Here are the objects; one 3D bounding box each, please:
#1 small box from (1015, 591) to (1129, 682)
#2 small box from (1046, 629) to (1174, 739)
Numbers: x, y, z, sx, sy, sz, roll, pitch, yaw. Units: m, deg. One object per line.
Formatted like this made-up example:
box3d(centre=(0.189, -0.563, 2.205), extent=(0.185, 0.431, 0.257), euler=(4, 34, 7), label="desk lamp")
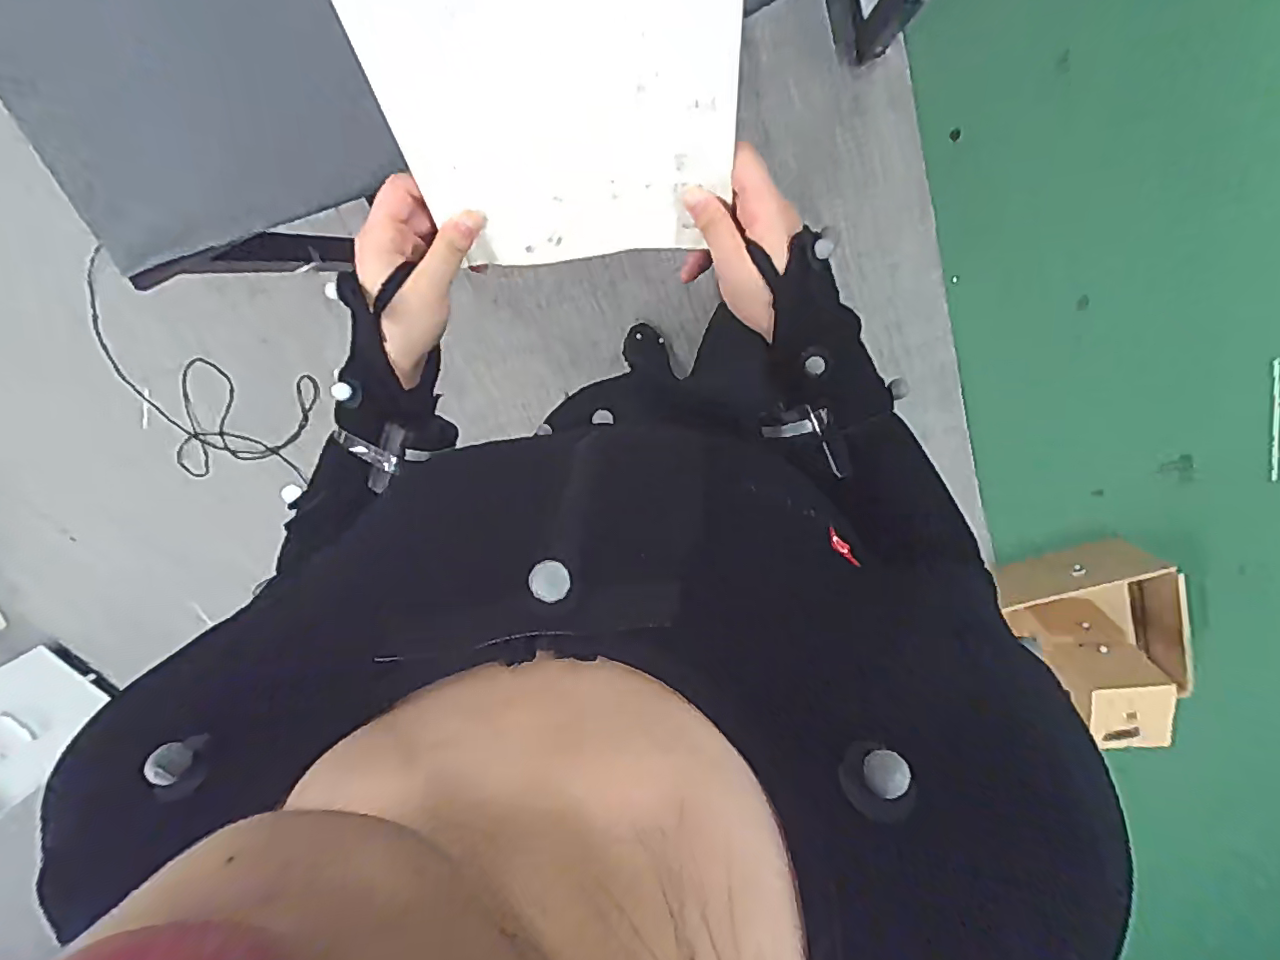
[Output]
box3d(centre=(1.128, 0.411, 1.429), extent=(0.179, 0.176, 0.168), euler=(-6, 112, 11), label="small box")
box3d(centre=(1.101, 0.481, 1.282), extent=(0.168, 0.176, 0.179), euler=(-9, 110, 11), label="small box")
